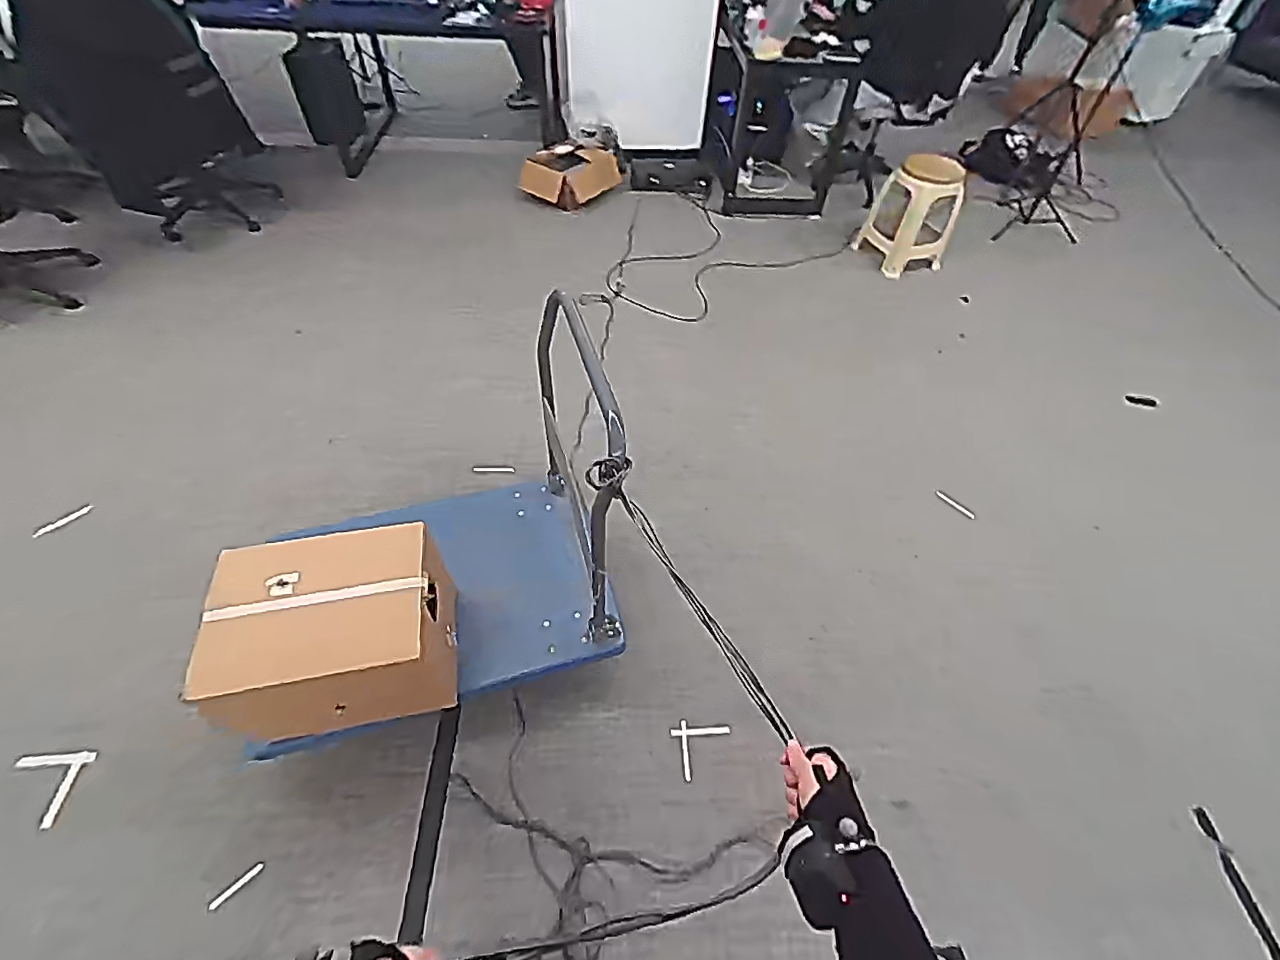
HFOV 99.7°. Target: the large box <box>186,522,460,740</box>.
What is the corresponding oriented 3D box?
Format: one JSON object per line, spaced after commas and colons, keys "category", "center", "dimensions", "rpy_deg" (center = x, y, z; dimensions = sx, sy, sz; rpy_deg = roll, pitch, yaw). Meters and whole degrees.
{"category": "large box", "center": [-0.631, 0.330, 1.172], "dimensions": [0.408, 0.320, 0.320], "rpy_deg": [-8, 52, -9]}
